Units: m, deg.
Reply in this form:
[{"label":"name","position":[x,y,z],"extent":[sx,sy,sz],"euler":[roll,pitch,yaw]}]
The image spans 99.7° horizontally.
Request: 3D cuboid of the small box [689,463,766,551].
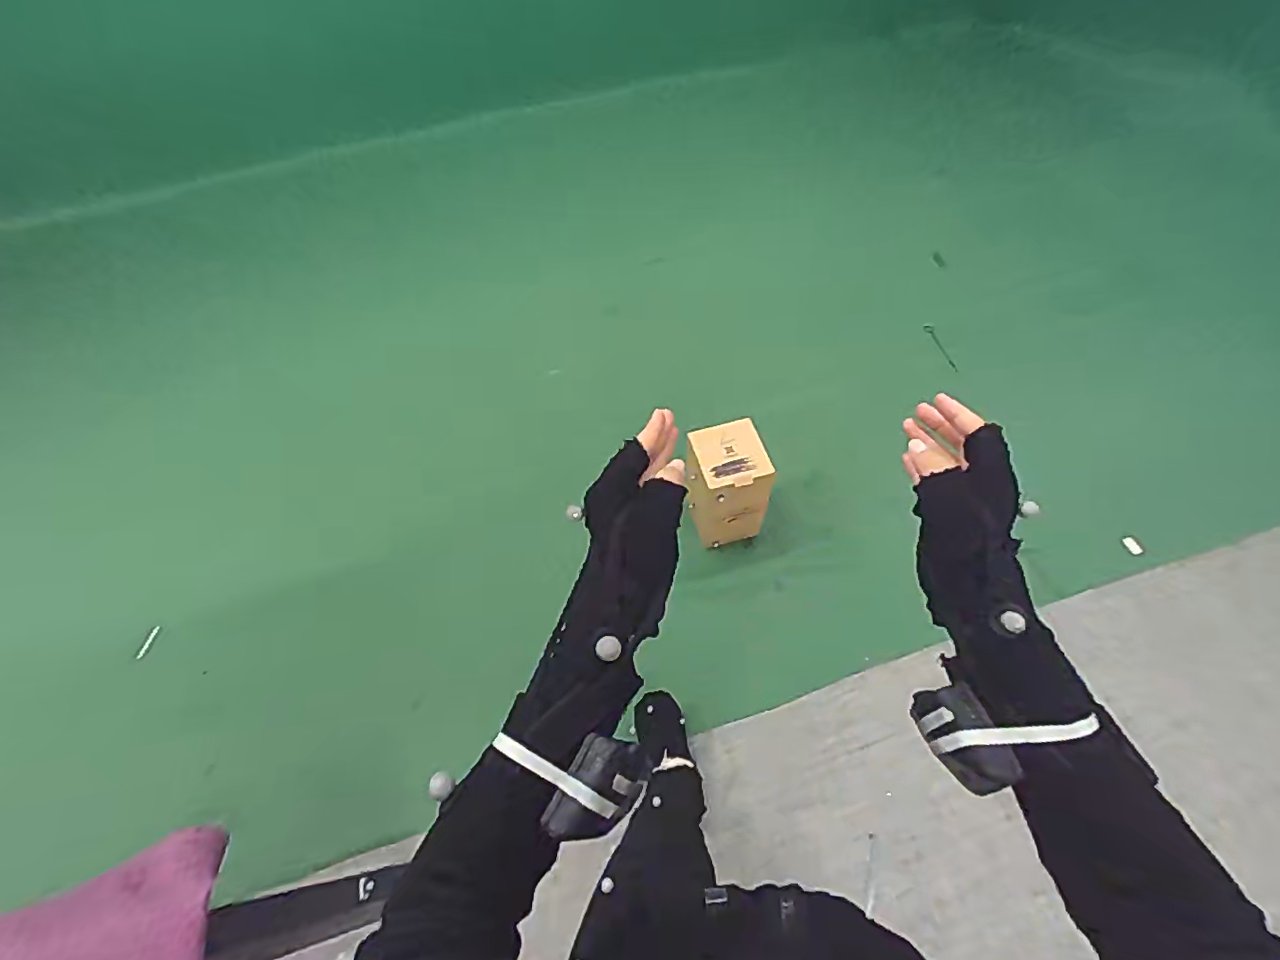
[{"label":"small box","position":[0.240,0.085,1.519],"extent":[0.168,0.176,0.179],"euler":[-14,58,-5]}]
